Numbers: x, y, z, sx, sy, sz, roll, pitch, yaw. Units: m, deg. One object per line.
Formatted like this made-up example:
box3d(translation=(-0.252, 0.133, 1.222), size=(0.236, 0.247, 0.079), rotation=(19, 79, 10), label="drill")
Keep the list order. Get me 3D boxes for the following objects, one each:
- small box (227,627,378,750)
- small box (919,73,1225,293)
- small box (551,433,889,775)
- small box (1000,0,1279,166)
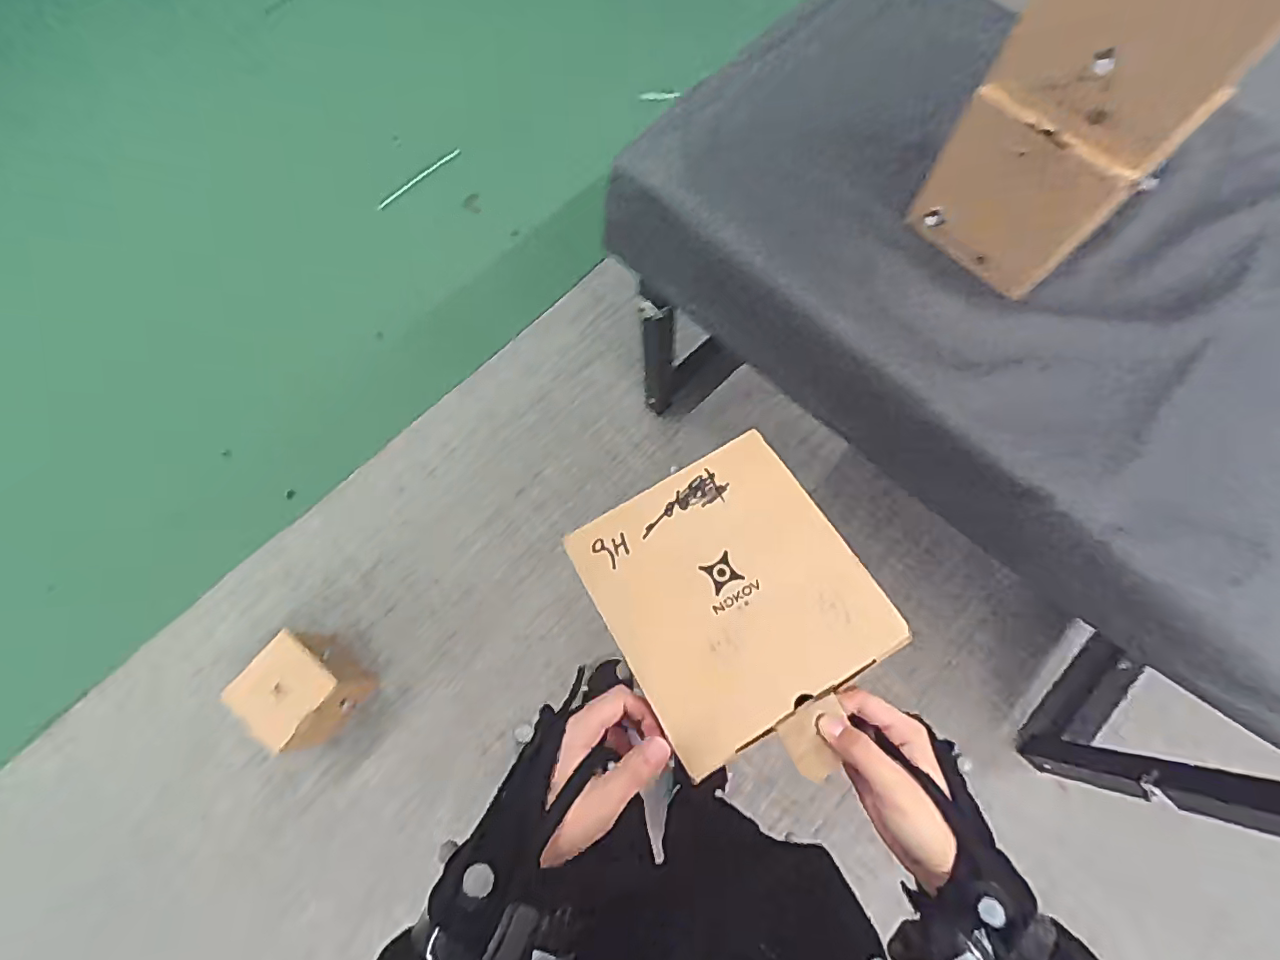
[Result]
box3d(translation=(-0.703, 0.435, 1.150), size=(0.179, 0.176, 0.168), rotation=(36, 75, 14), label="small box")
box3d(translation=(0.446, -0.346, 0.598), size=(0.179, 0.176, 0.168), rotation=(-39, 75, -11), label="small box")
box3d(translation=(0.054, 0.099, 0.436), size=(0.168, 0.176, 0.179), rotation=(-30, 69, -9), label="small box")
box3d(translation=(0.451, -0.412, 0.446), size=(0.179, 0.176, 0.168), rotation=(-42, 74, -11), label="small box")
